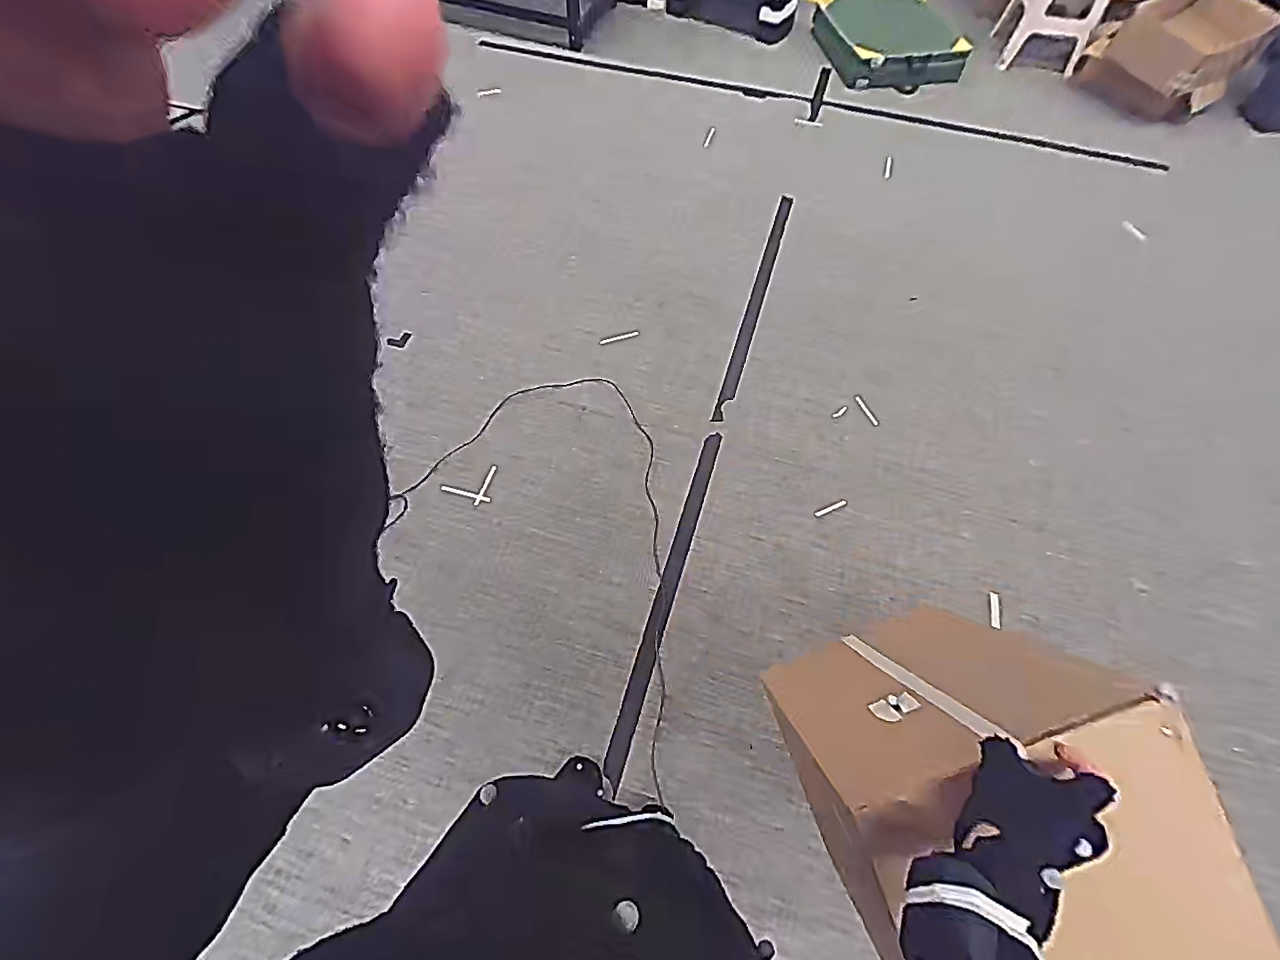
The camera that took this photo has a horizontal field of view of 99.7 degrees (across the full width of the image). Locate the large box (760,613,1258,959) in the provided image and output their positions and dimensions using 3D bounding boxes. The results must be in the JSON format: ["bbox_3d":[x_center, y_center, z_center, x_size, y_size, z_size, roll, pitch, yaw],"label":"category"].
[{"bbox_3d":[0.389,0.404,0.685,0.320,0.408,0.320,-20,89,-1],"label":"large box"}]
